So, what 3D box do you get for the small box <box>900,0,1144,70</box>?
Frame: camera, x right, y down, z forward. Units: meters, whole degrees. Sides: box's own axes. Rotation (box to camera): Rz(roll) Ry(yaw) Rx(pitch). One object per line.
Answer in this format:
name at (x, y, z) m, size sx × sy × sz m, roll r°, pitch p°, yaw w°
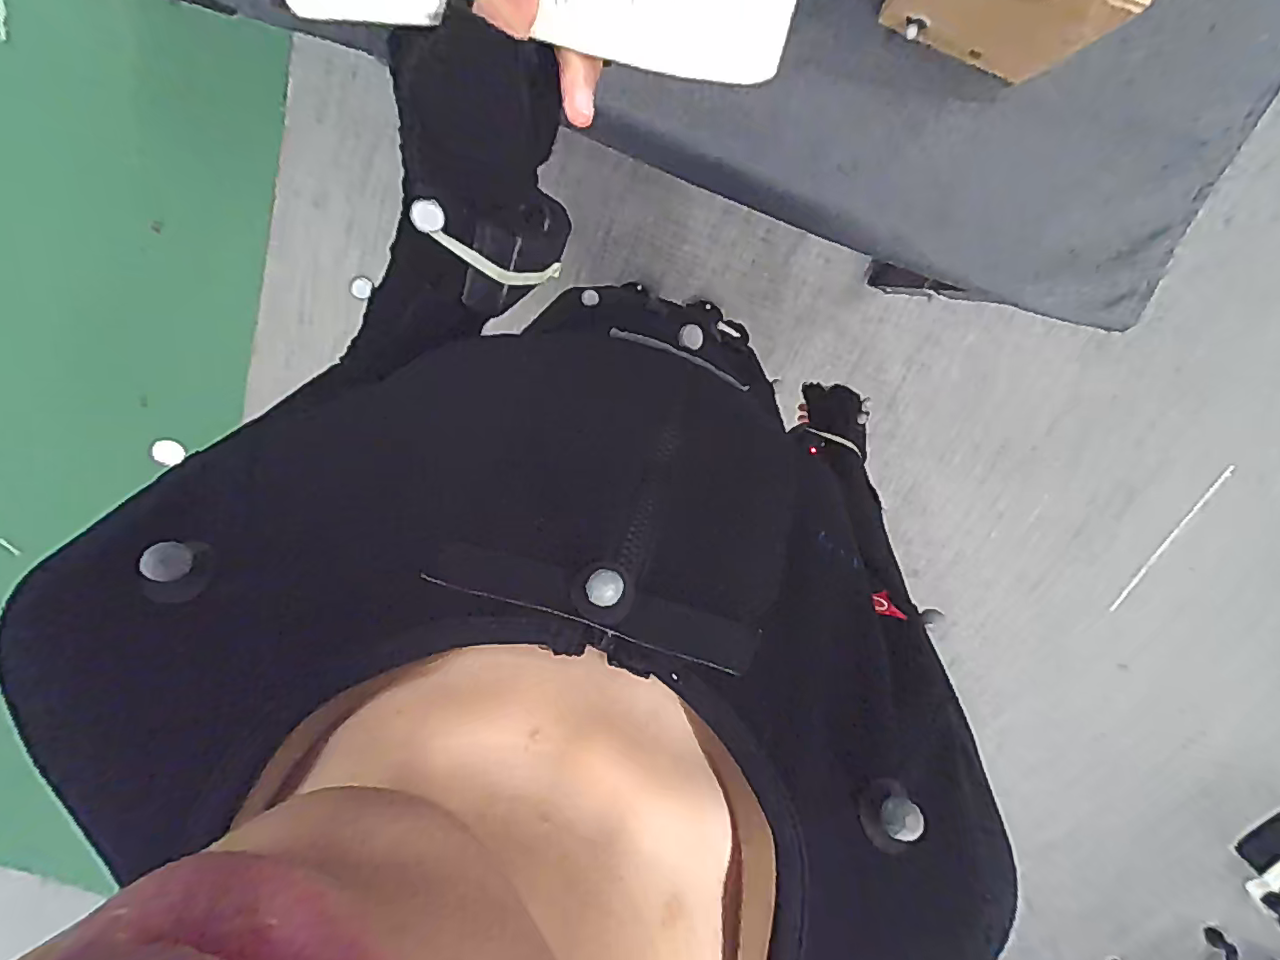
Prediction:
small box at (0.346, -0.492, 0.453) m, size 0.168 × 0.176 × 0.179 m, roll 20°, pitch 110°, yaw -4°
